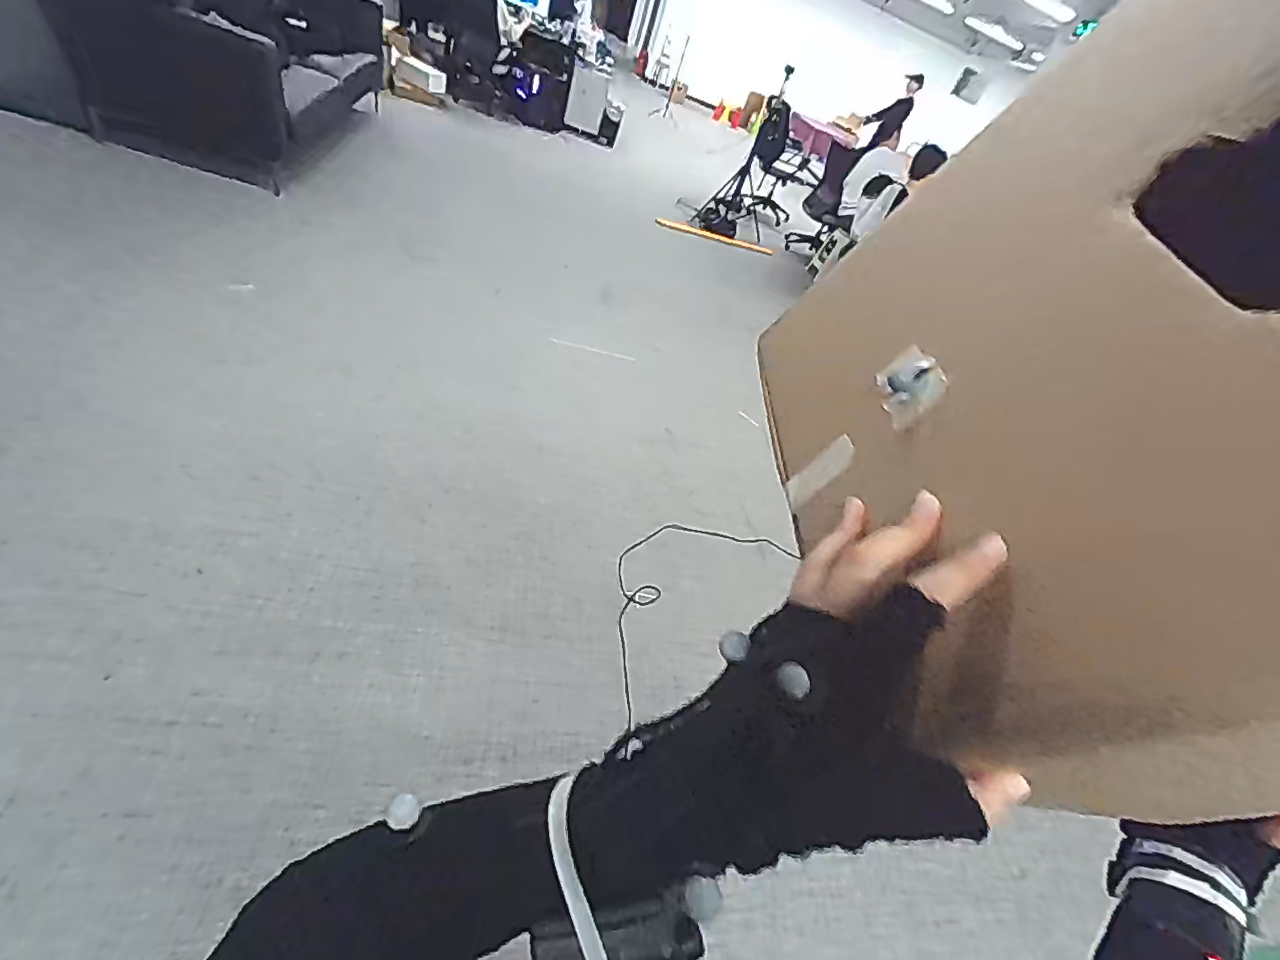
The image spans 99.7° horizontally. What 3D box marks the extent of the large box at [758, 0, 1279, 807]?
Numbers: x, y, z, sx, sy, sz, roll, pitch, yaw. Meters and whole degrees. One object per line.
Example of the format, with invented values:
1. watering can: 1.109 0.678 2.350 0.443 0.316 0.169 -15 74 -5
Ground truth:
1. large box: 0.340 0.004 0.341 0.408 0.320 0.320 24 47 -29
